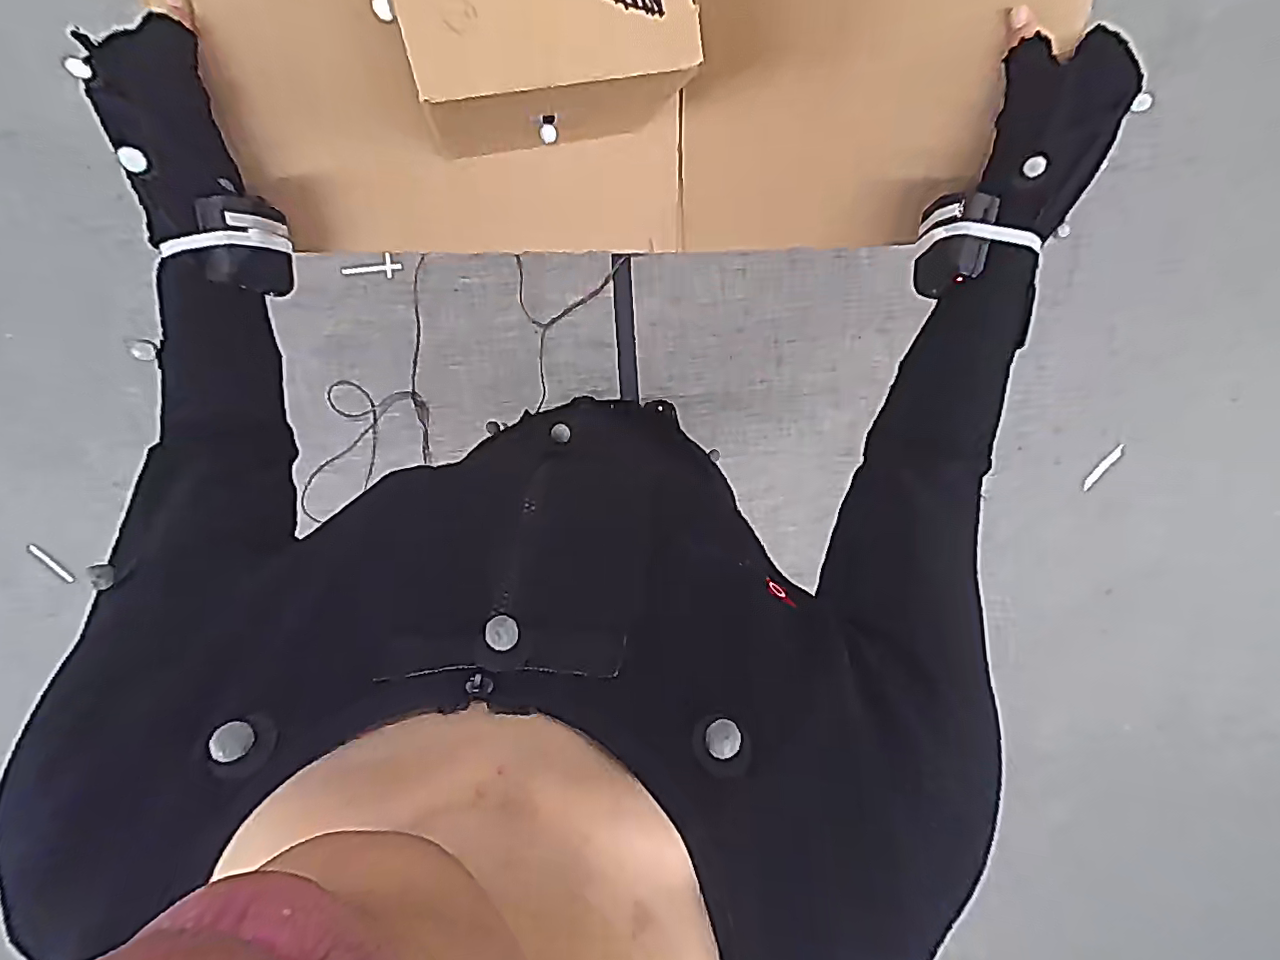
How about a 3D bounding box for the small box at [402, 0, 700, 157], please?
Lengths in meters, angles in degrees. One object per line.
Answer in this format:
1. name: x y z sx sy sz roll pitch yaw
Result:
1. small box: -0.075 -0.343 0.377 0.179 0.176 0.168 -14 112 -9
